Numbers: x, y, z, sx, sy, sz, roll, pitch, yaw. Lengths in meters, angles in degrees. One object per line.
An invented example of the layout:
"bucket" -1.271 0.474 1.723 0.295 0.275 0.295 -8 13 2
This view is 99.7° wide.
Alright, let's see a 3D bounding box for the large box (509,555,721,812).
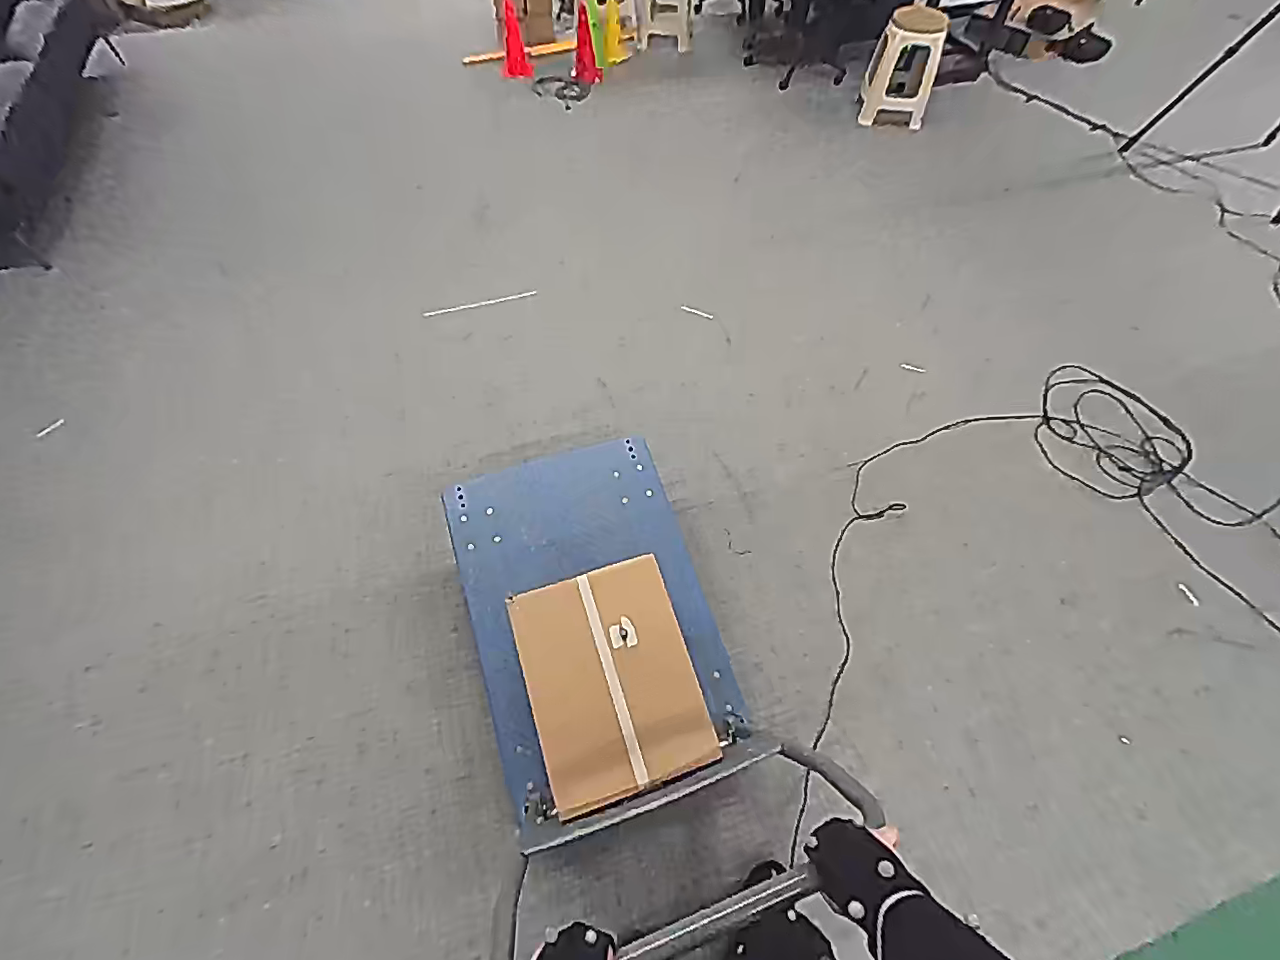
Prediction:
"large box" -0.063 0.431 1.185 0.320 0.320 0.408 -16 70 -11
